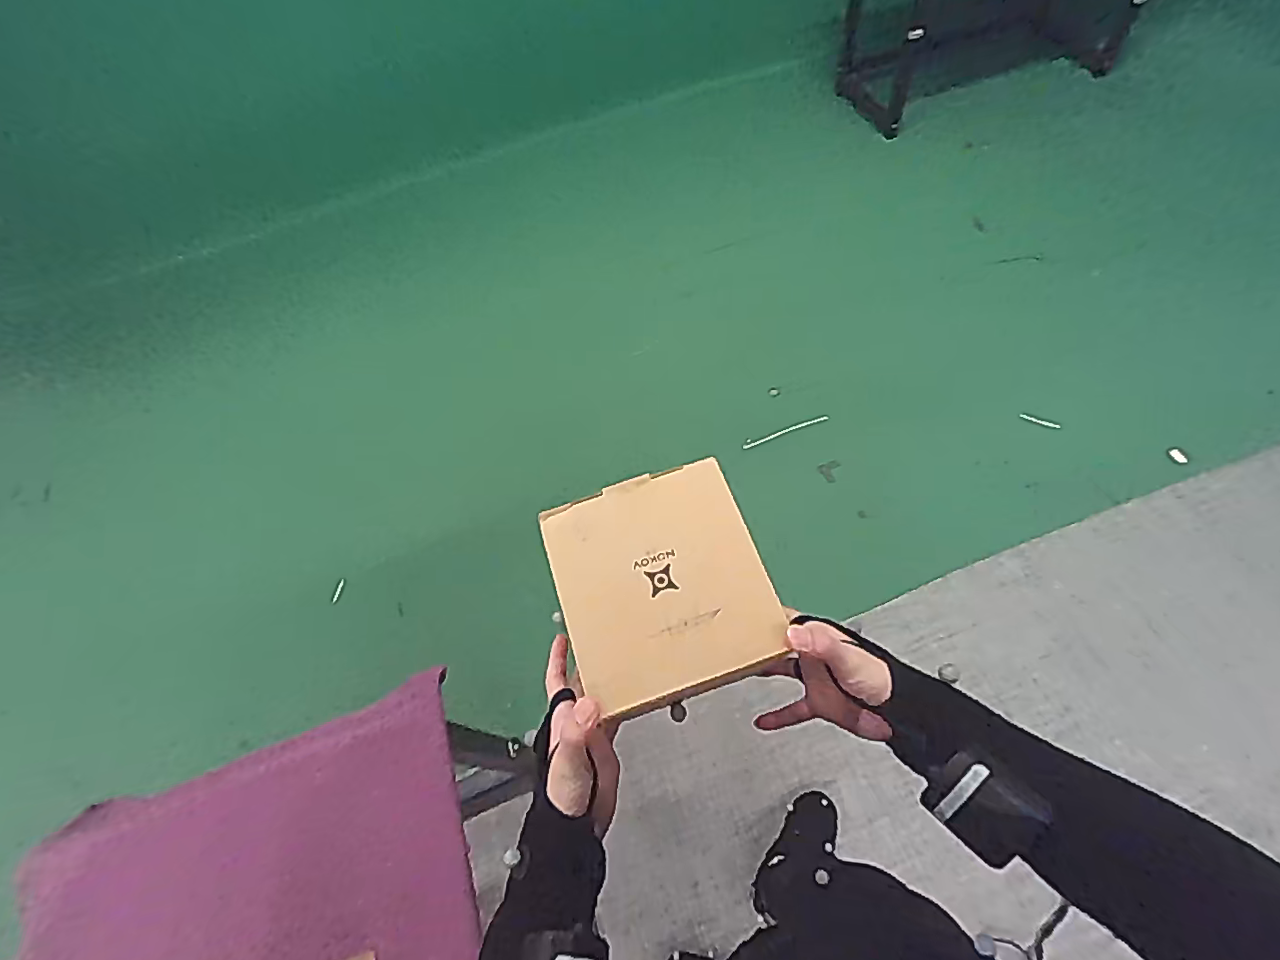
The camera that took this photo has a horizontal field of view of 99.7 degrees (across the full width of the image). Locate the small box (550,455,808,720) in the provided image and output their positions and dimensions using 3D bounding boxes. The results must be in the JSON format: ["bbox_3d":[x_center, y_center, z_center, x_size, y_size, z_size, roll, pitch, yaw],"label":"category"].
[{"bbox_3d":[0.027,0.107,0.498,0.168,0.176,0.179,-16,65,-4],"label":"small box"}]
